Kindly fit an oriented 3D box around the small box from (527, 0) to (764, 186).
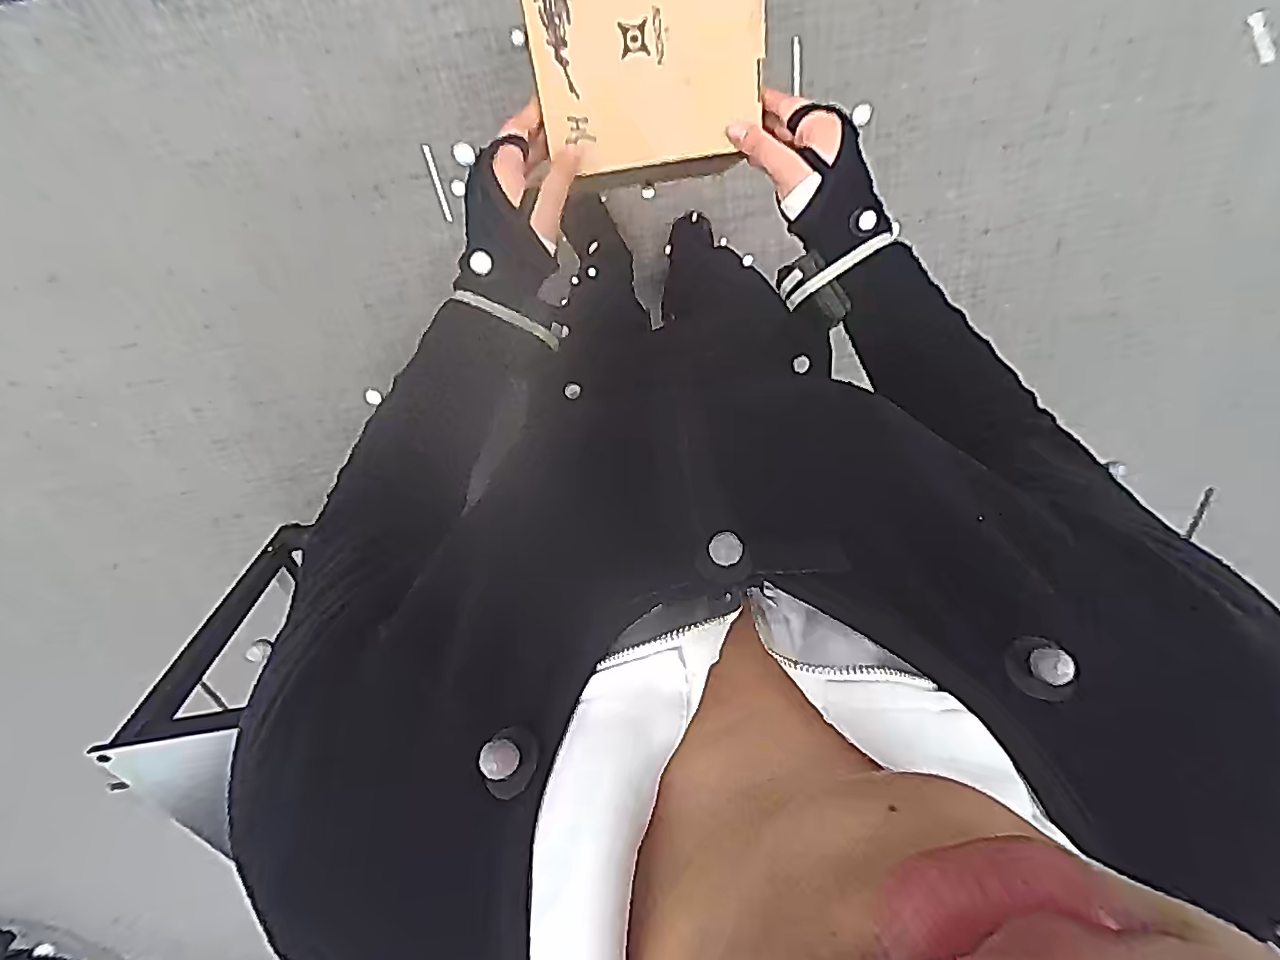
[{"bbox_3d":[-0.002,-0.368,0.479,0.179,0.176,0.168,-9,114,-2],"label":"small box"}]
